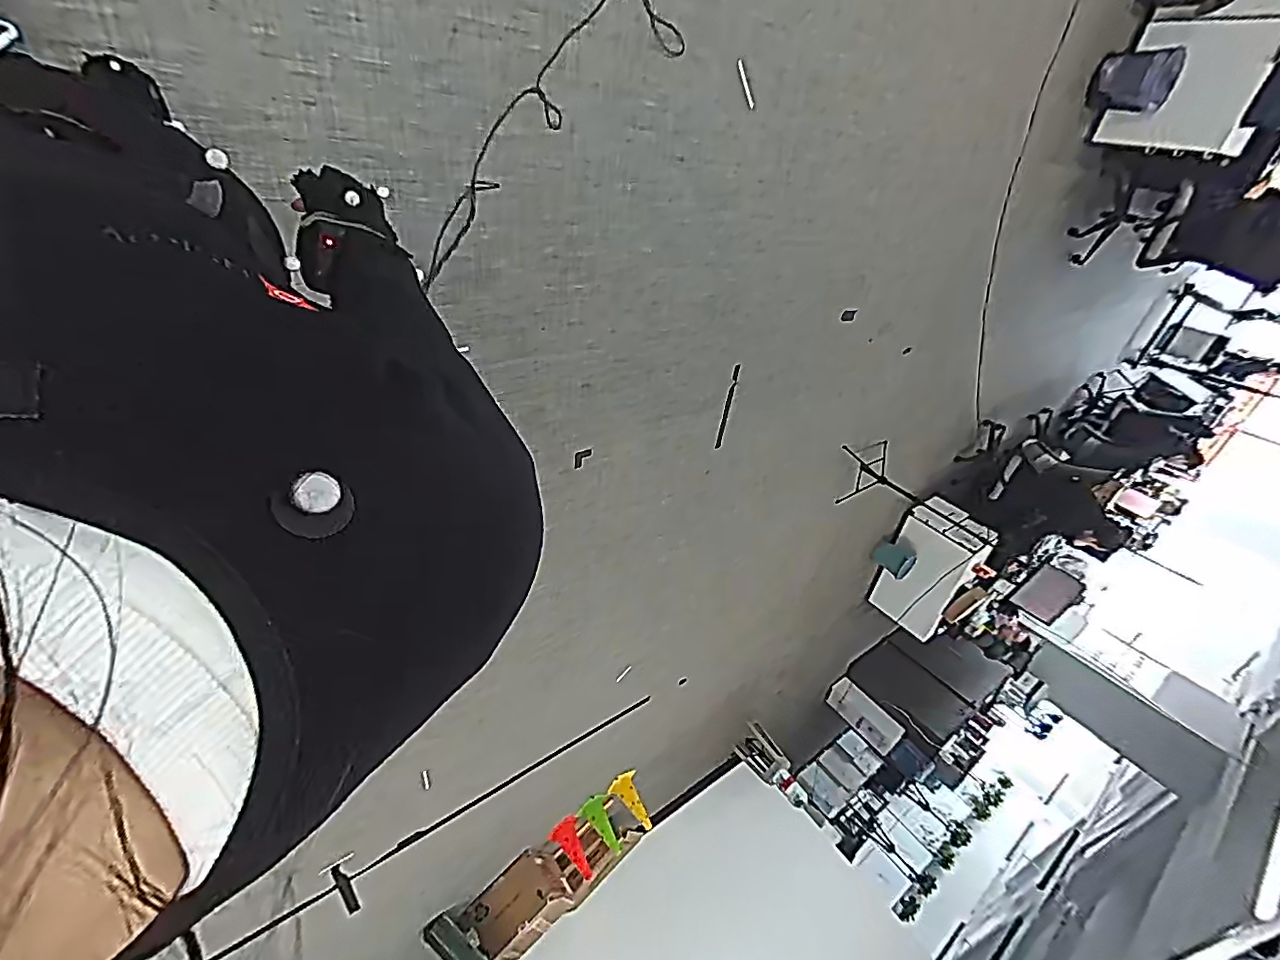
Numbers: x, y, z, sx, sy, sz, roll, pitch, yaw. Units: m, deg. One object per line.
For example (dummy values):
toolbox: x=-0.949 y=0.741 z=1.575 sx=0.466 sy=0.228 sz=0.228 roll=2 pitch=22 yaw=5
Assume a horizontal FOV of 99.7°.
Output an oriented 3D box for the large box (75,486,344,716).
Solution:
large box: x=-1.006 y=0.270 z=1.309 sx=0.408 sy=0.320 sz=0.320 roll=-22 pitch=132 yaw=-28
